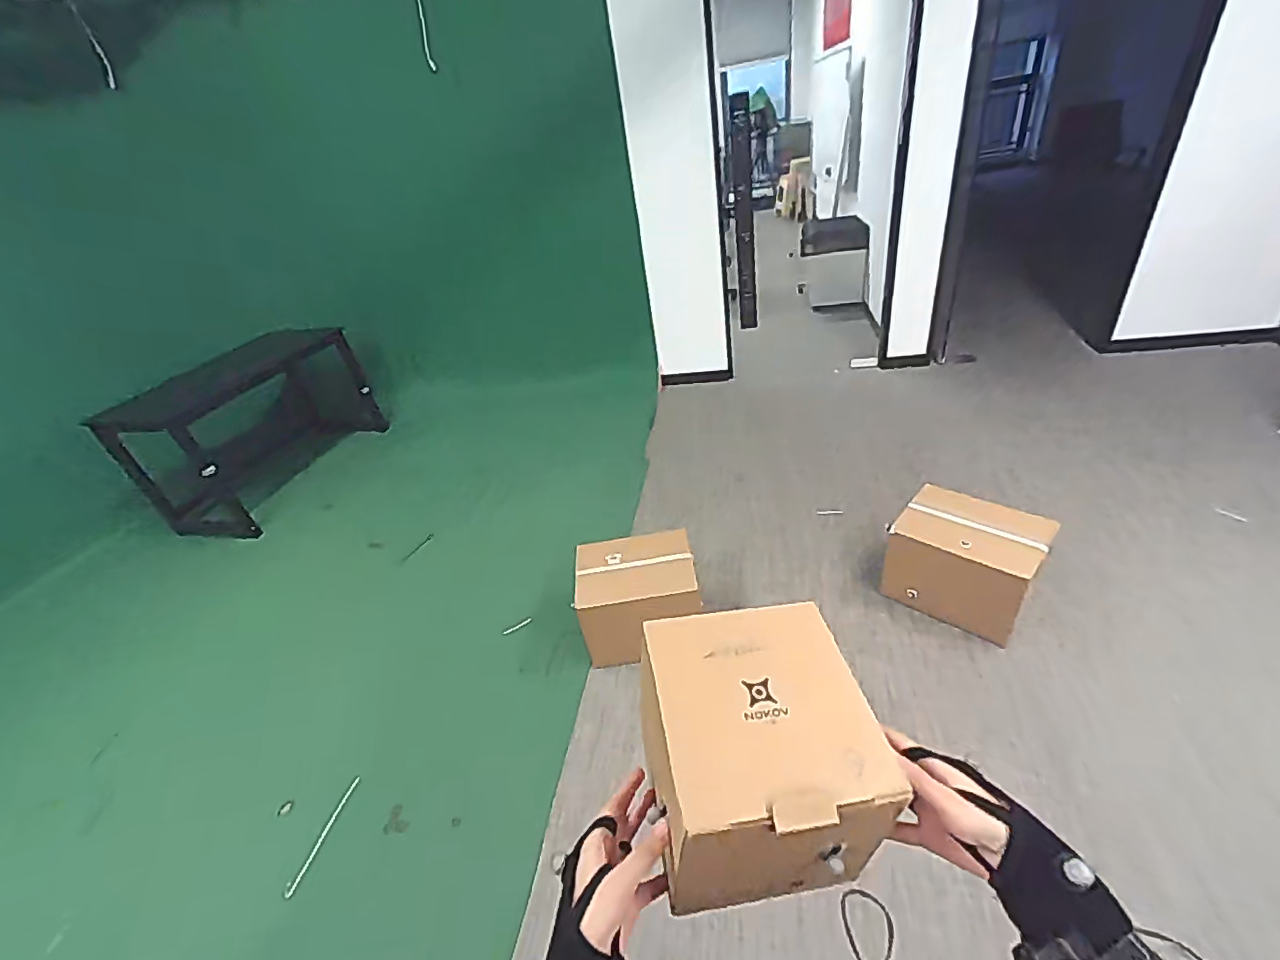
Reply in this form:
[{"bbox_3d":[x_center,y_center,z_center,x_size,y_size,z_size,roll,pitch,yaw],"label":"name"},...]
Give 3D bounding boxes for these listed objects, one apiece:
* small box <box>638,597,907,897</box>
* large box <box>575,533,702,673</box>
[{"bbox_3d":[0.091,0.231,0.471,0.168,0.176,0.179,-5,37,-8],"label":"small box"},{"bbox_3d":[0.003,0.432,1.907,0.408,0.320,0.320,-11,32,2],"label":"large box"}]
